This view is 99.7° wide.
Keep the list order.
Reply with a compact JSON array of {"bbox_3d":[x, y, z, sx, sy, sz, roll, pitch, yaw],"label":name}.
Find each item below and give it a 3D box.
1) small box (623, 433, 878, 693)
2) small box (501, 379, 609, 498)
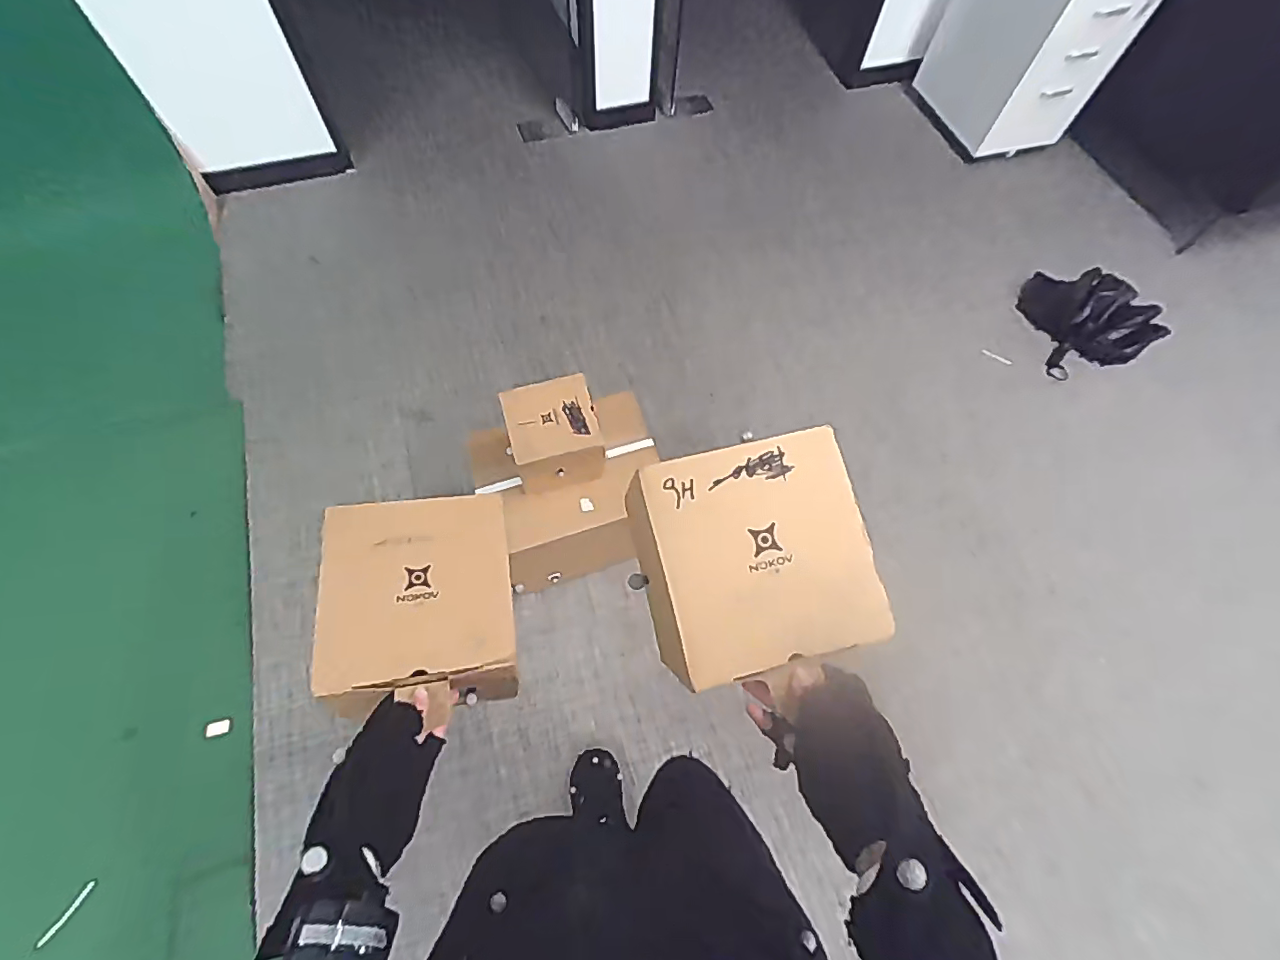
[{"bbox_3d":[0.084,0.073,0.506,0.168,0.176,0.179,-14,82,-7],"label":"small box"},{"bbox_3d":[-0.175,-0.082,1.127,0.179,0.176,0.168,-18,72,-11],"label":"small box"}]
